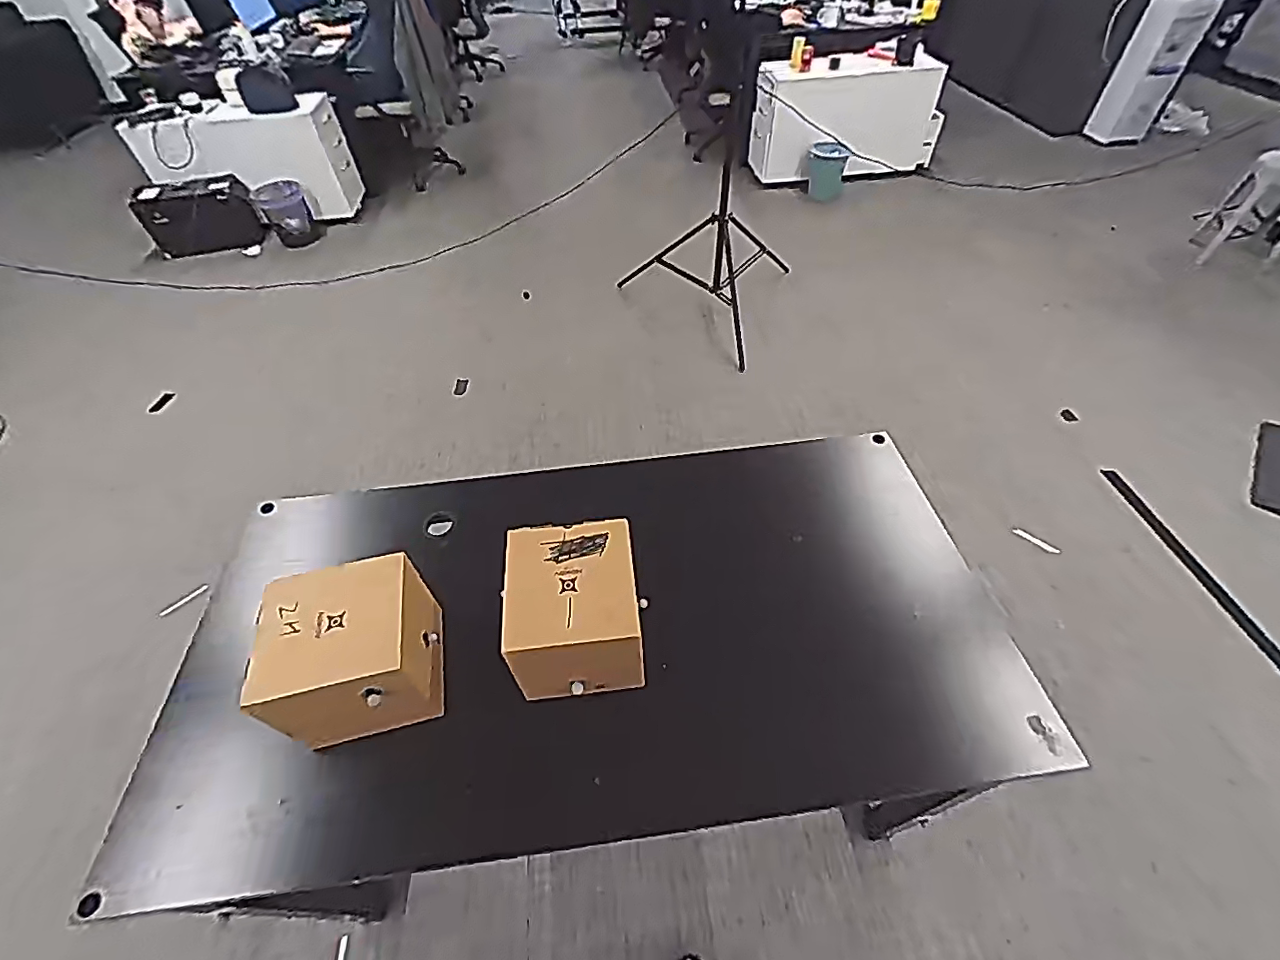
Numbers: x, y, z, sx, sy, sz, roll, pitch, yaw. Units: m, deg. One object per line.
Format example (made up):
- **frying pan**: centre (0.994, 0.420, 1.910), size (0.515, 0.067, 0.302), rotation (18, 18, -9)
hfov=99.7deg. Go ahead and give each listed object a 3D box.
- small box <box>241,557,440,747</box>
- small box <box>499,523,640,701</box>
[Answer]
- **small box**: centre (-0.375, 0.231, 0.719), size (0.179, 0.176, 0.168), rotation (-12, 50, -8)
- **small box**: centre (-0.091, 0.183, 0.749), size (0.168, 0.176, 0.179), rotation (-6, 50, -2)
